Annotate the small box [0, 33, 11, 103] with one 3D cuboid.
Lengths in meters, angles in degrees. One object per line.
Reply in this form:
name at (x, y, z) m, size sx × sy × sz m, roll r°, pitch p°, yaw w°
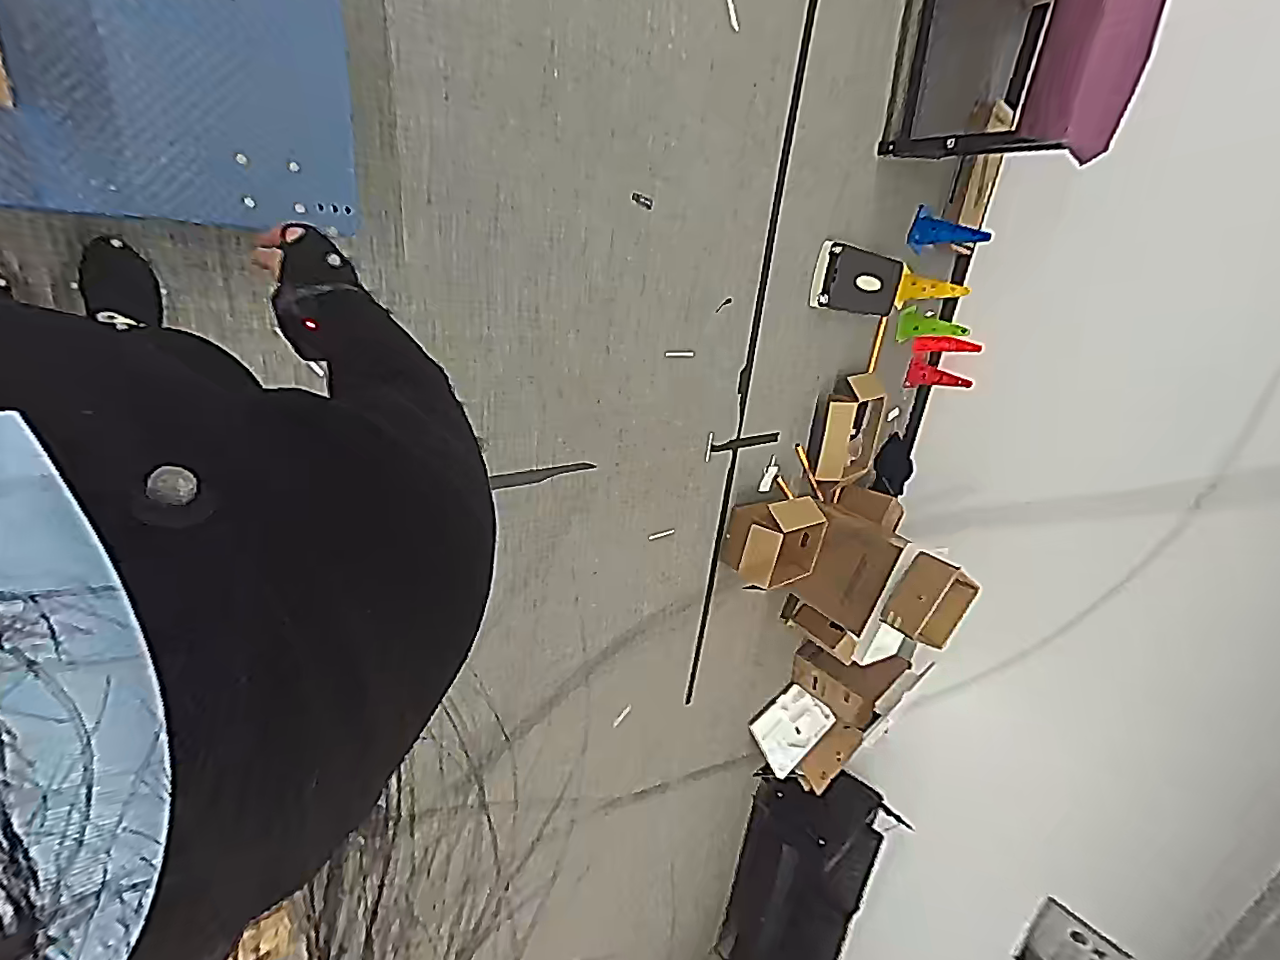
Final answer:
small box at (-0.893, -0.579, 0.638) m, size 0.168 × 0.176 × 0.179 m, roll -9°, pitch 117°, yaw -41°
